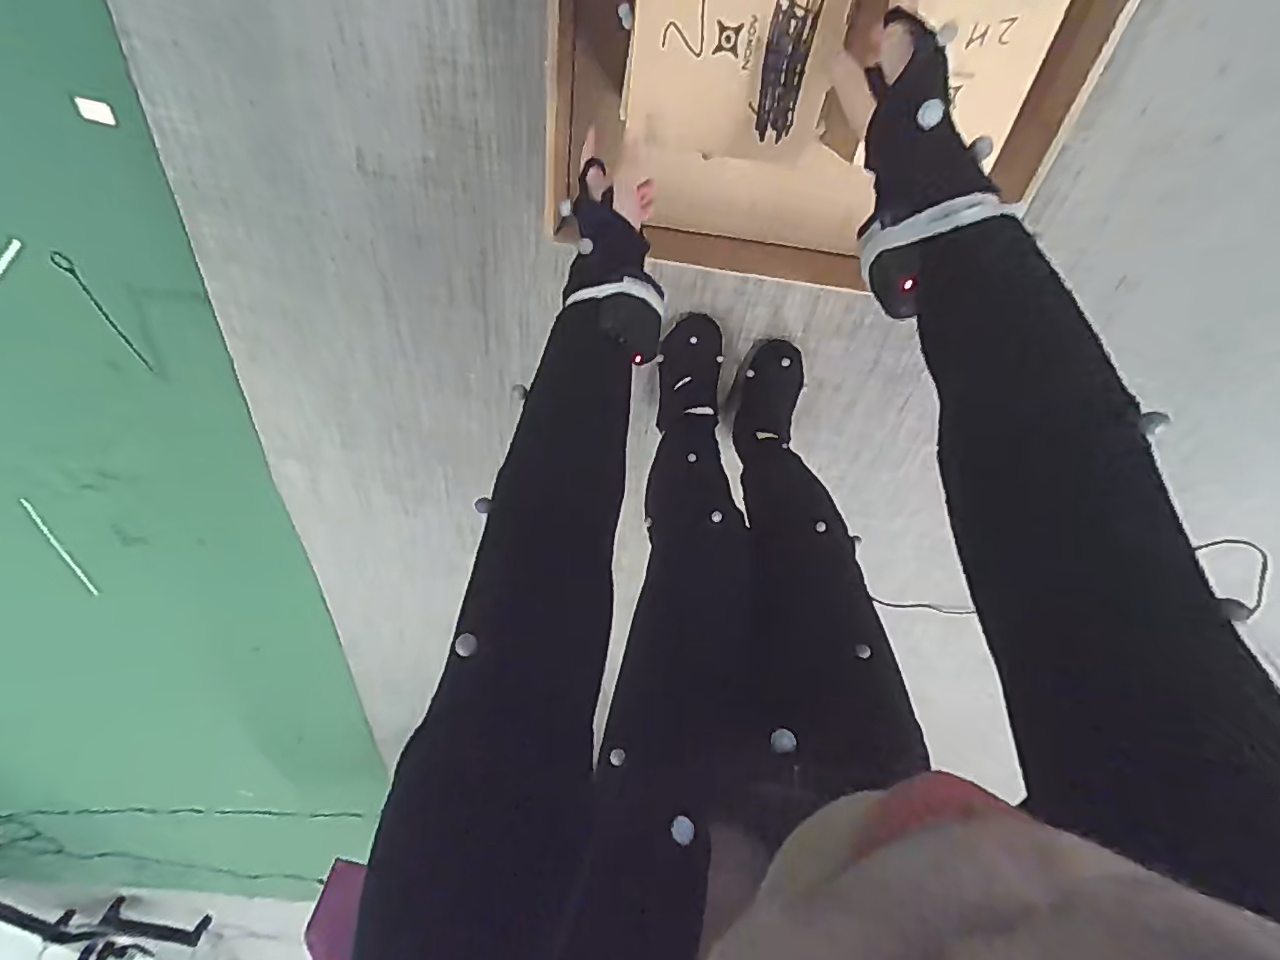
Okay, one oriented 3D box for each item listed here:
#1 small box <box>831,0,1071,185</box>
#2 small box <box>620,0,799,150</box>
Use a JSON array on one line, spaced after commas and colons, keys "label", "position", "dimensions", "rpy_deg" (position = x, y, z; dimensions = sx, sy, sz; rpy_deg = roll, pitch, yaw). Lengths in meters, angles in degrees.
[{"label": "small box", "position": [0.347, -0.483, 0.652], "dimensions": [0.168, 0.176, 0.179], "rpy_deg": [7, 130, -3]}, {"label": "small box", "position": [0.075, -0.519, 0.637], "dimensions": [0.168, 0.176, 0.179], "rpy_deg": [9, 129, -6]}]
